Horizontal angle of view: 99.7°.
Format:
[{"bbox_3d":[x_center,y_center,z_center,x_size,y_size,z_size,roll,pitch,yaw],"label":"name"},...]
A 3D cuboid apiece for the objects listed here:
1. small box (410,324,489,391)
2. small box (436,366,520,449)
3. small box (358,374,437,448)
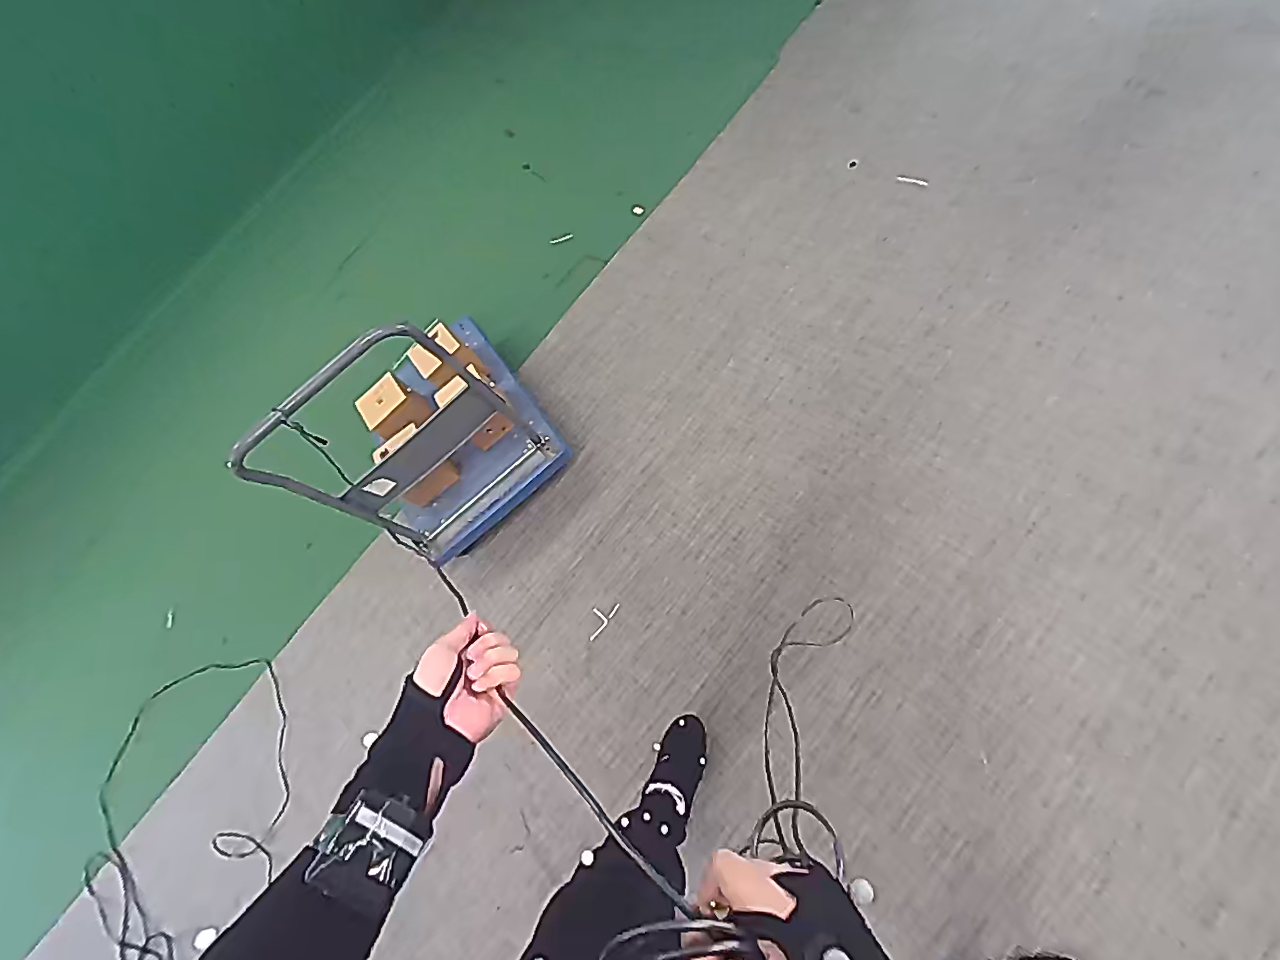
[{"bbox_3d":[-0.674,-0.410,1.921,0.168,0.176,0.179,-44,58,1],"label":"small box"},{"bbox_3d":[-0.530,-0.232,1.777,0.168,0.176,0.179,-39,58,3],"label":"small box"},{"bbox_3d":[-0.856,-0.237,1.921,0.168,0.176,0.179,-43,57,0],"label":"small box"}]
